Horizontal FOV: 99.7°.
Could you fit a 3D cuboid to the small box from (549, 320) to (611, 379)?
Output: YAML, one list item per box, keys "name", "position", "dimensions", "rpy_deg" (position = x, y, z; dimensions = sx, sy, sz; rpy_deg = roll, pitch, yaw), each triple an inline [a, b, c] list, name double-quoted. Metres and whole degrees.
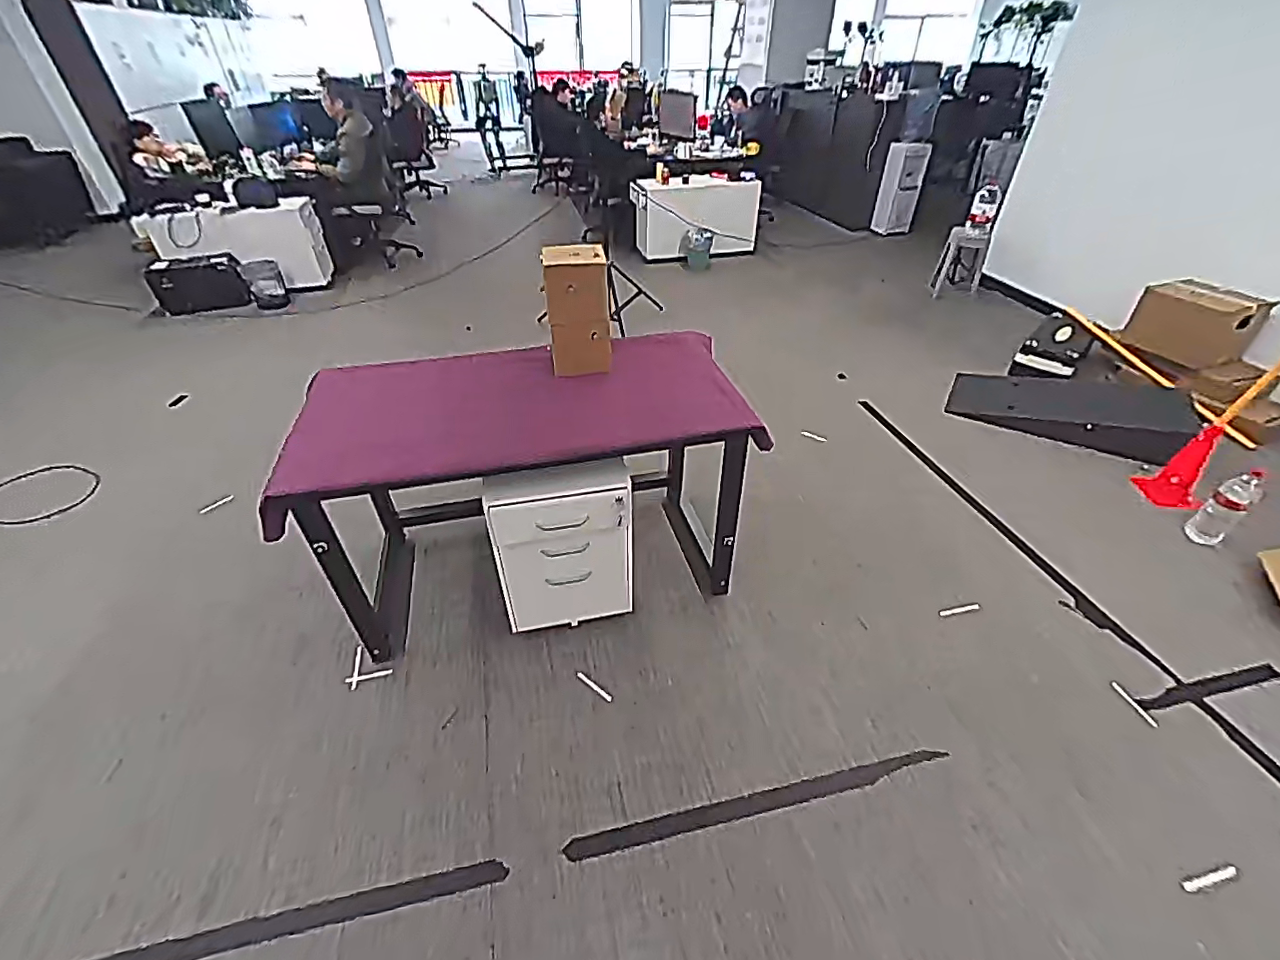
- name: "small box"
  position: [-0.185, -0.428, 1.667]
  dimensions: [0.179, 0.176, 0.168]
  rpy_deg: [-7, 40, -7]

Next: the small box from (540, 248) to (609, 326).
- name: "small box"
  position: [-0.188, -0.556, 1.565]
  dimensions: [0.179, 0.176, 0.168]
  rpy_deg: [-7, 40, -6]
